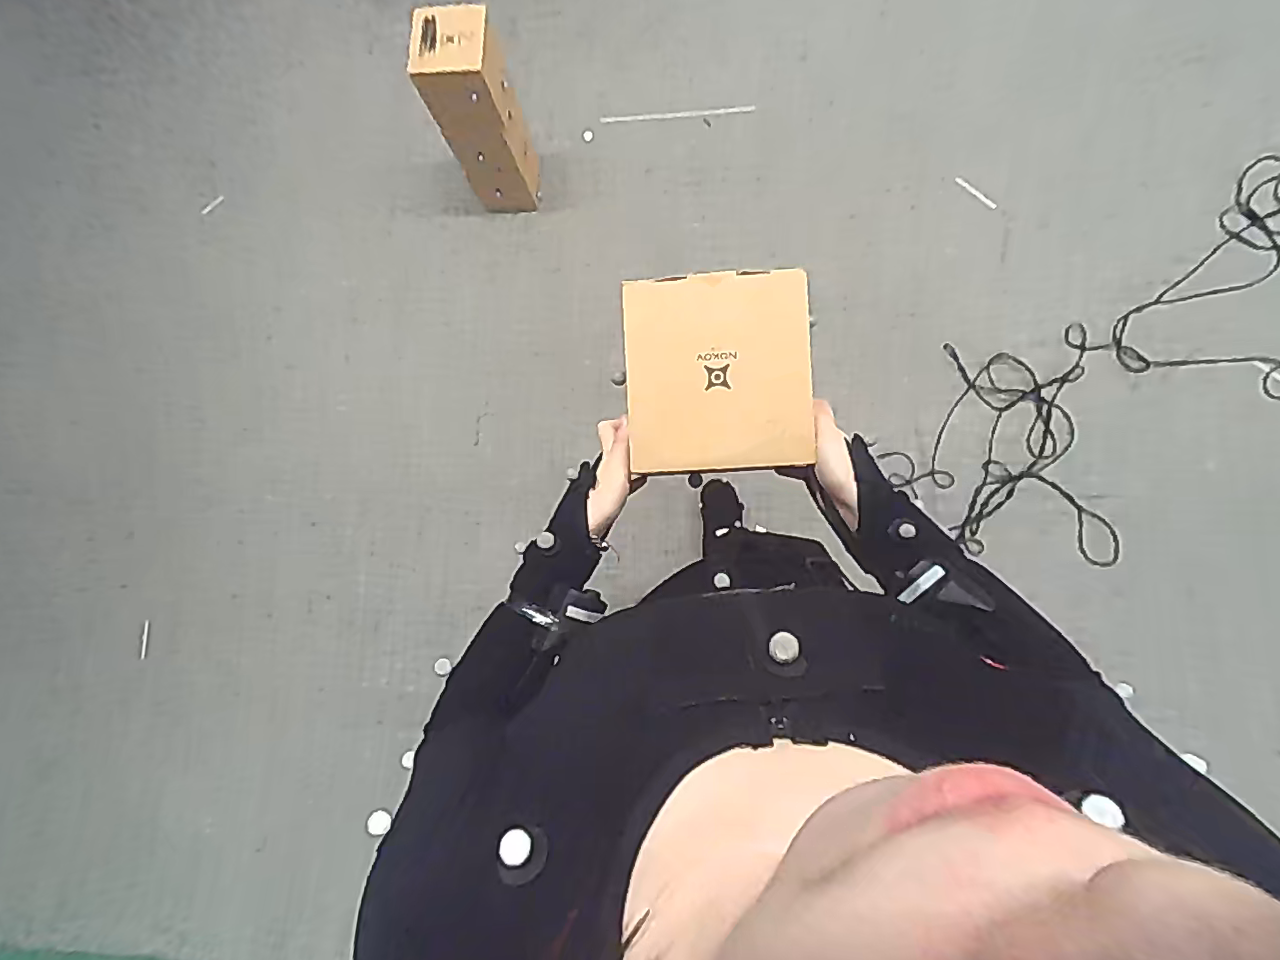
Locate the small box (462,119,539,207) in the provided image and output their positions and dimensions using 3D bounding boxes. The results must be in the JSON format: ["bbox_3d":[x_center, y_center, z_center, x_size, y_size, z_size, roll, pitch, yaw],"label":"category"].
[{"bbox_3d":[-0.409,-0.939,1.608,0.179,0.176,0.168,1,83,7],"label":"small box"}]

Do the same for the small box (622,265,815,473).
[{"bbox_3d":[0.075,-0.098,0.556,0.168,0.176,0.179,-3,89,4],"label":"small box"}]

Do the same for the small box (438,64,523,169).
[{"bbox_3d":[-0.419,-0.960,1.445,0.168,0.176,0.179,2,83,5],"label":"small box"}]
